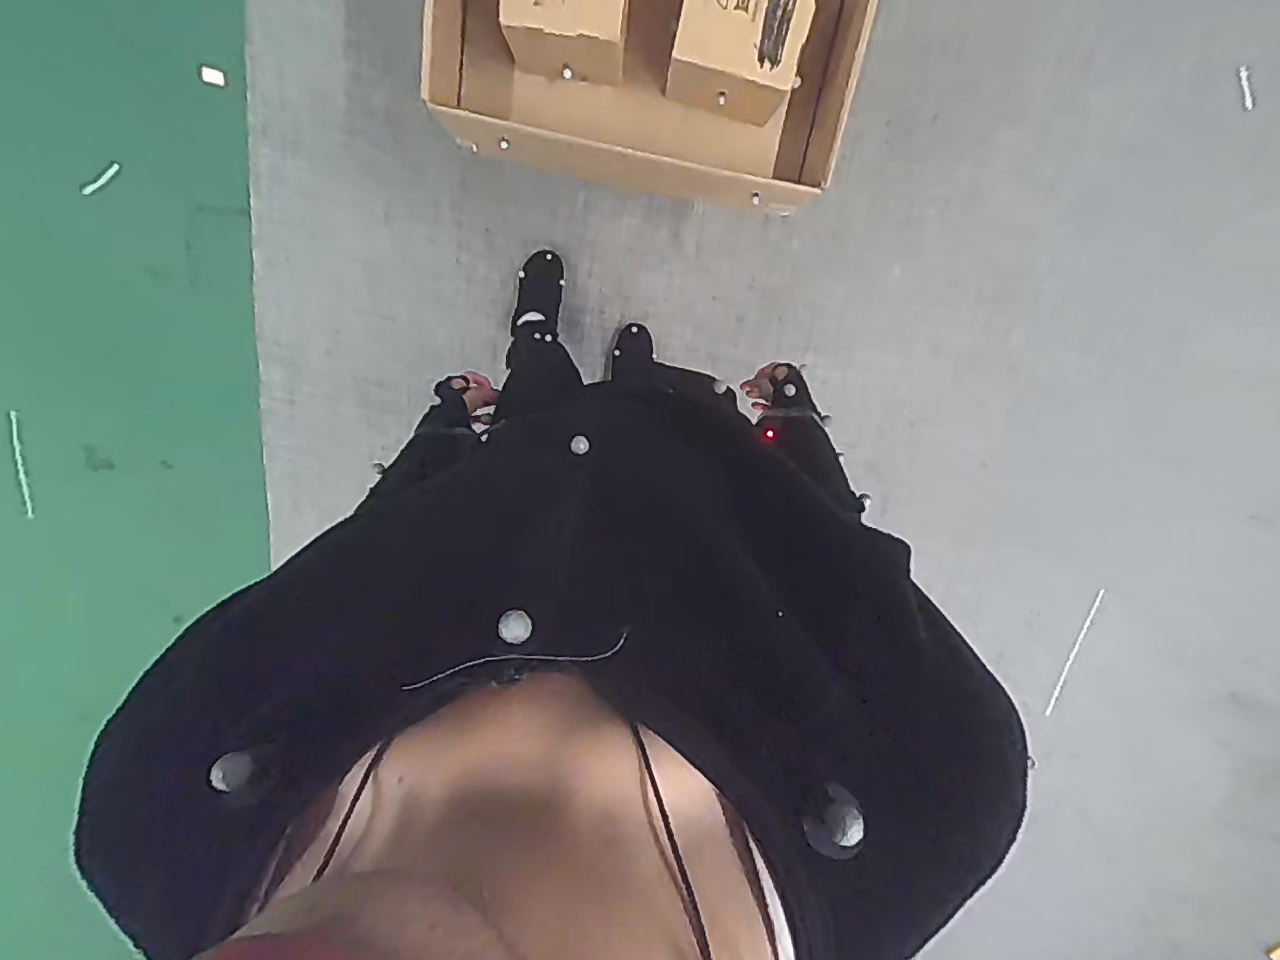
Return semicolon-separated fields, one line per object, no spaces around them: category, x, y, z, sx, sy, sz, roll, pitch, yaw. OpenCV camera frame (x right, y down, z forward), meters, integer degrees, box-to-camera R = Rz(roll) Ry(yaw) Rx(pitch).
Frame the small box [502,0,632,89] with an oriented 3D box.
small box;-0.097;-0.707;0.781;0.168;0.176;0.179;6;108;-3
